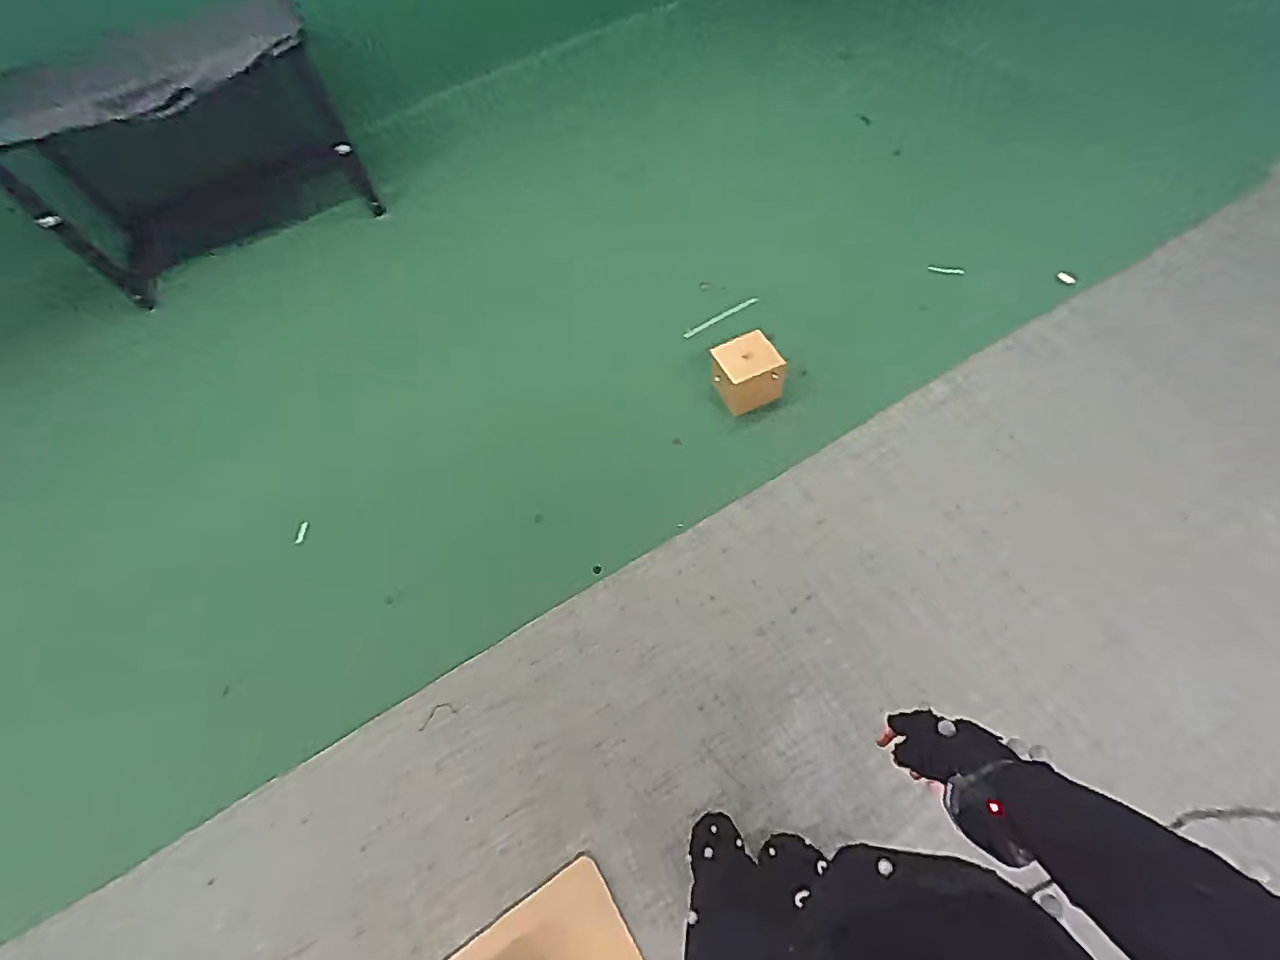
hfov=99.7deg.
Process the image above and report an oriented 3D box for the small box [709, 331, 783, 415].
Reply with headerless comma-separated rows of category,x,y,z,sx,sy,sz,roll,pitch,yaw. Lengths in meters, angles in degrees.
small box,0.338,-0.338,1.733,0.179,0.176,0.168,-24,59,-5
